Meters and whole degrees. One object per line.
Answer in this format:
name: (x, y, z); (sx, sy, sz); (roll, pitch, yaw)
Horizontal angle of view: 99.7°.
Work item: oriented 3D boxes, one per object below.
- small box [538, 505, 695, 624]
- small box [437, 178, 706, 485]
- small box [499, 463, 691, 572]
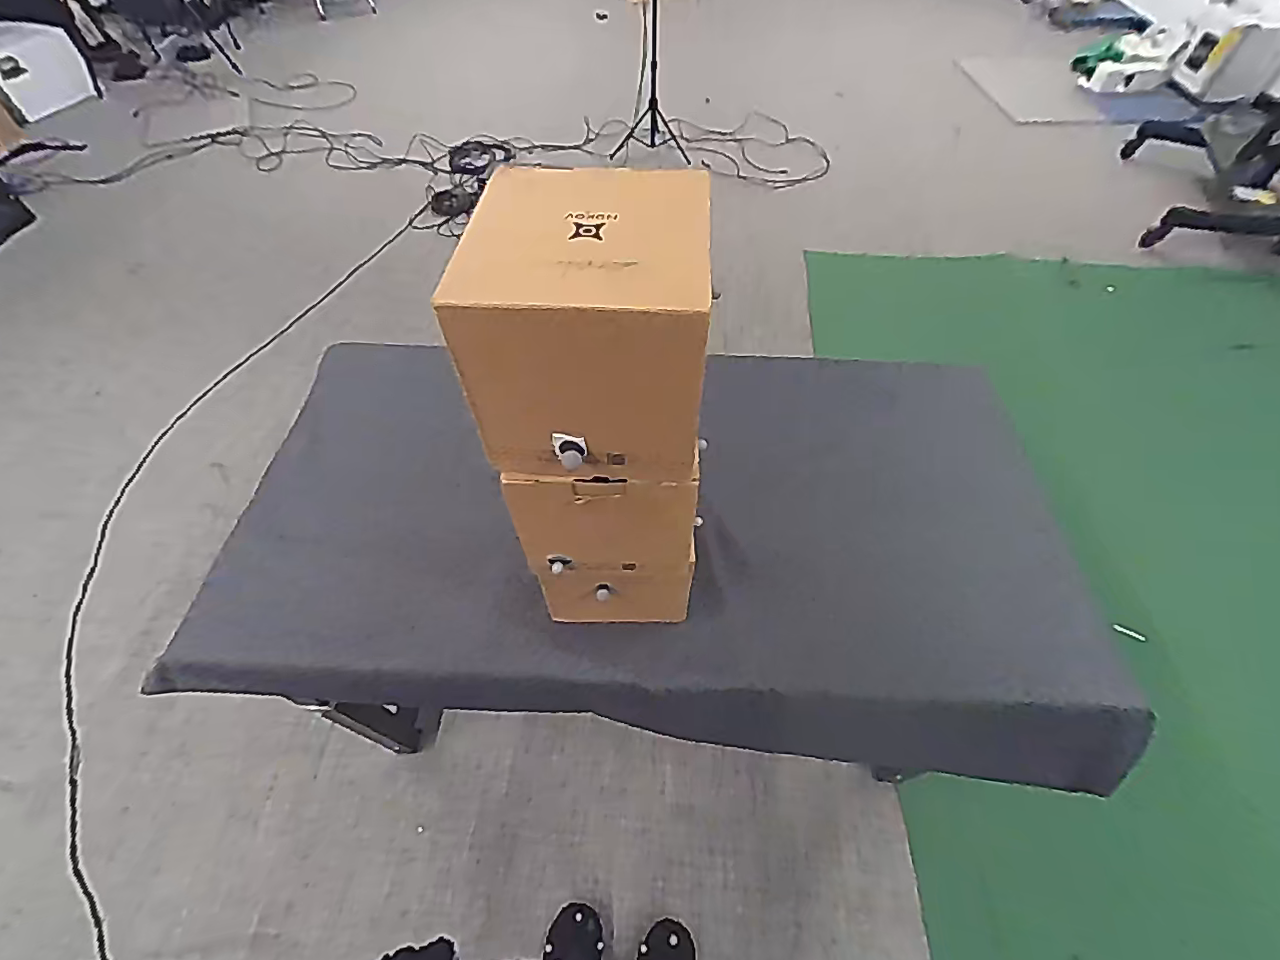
small box: (-0.027, 0.076, 0.701); (0.179, 0.176, 0.168); (-3, 51, -2)
small box: (-0.036, -0.116, 0.435); (0.168, 0.176, 0.179); (1, 54, 3)
small box: (-0.033, -0.016, 0.561); (0.168, 0.176, 0.179); (0, 52, 1)
